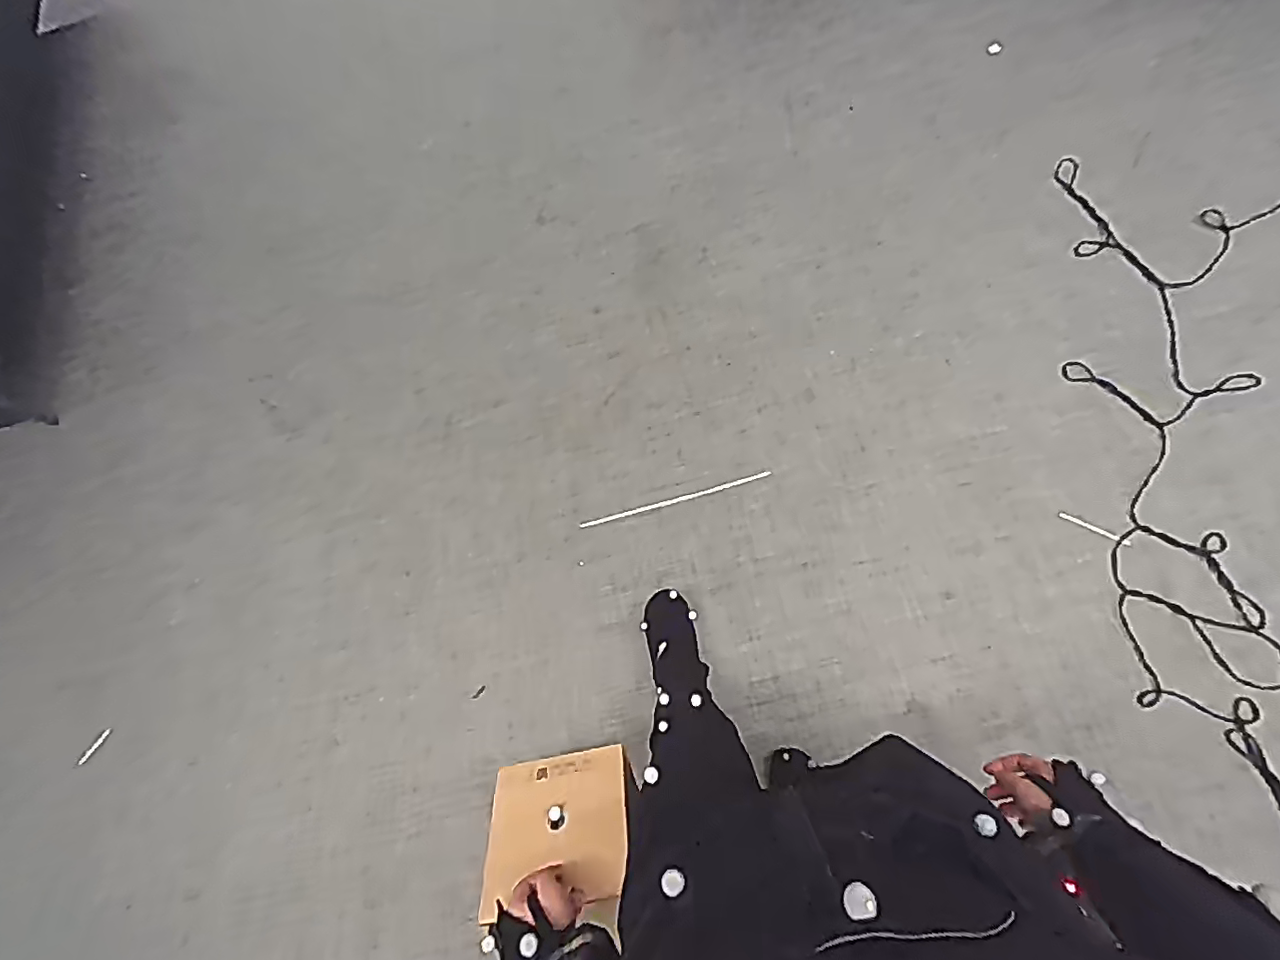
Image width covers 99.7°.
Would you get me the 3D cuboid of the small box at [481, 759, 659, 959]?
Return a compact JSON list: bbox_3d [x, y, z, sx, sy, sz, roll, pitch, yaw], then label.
[{"bbox_3d":[-0.079,0.470,0.668,0.168,0.179,0.176,-12,30,2],"label":"small box"}]
